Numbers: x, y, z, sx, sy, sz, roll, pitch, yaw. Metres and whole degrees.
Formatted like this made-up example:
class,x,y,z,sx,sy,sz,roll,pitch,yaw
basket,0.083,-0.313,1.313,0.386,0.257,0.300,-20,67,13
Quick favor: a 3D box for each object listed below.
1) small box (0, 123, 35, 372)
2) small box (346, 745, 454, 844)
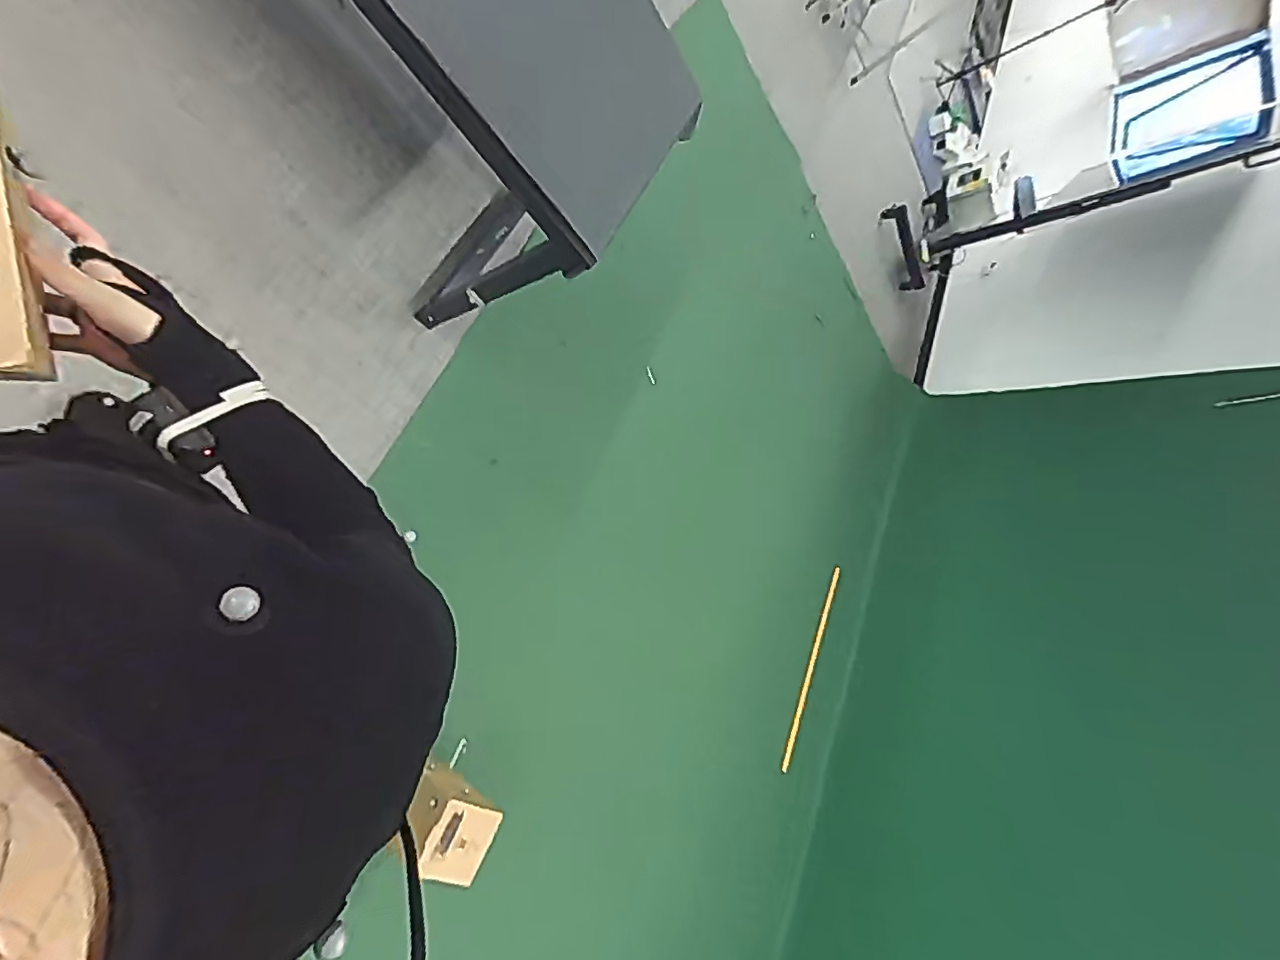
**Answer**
class,x,y,z,sx,sy,sz,roll,pitch,yaw
small box,-0.478,-0.158,0.305,0.168,0.176,0.179,-7,101,-44
small box,-0.650,0.846,1.462,0.179,0.176,0.168,46,60,-36
